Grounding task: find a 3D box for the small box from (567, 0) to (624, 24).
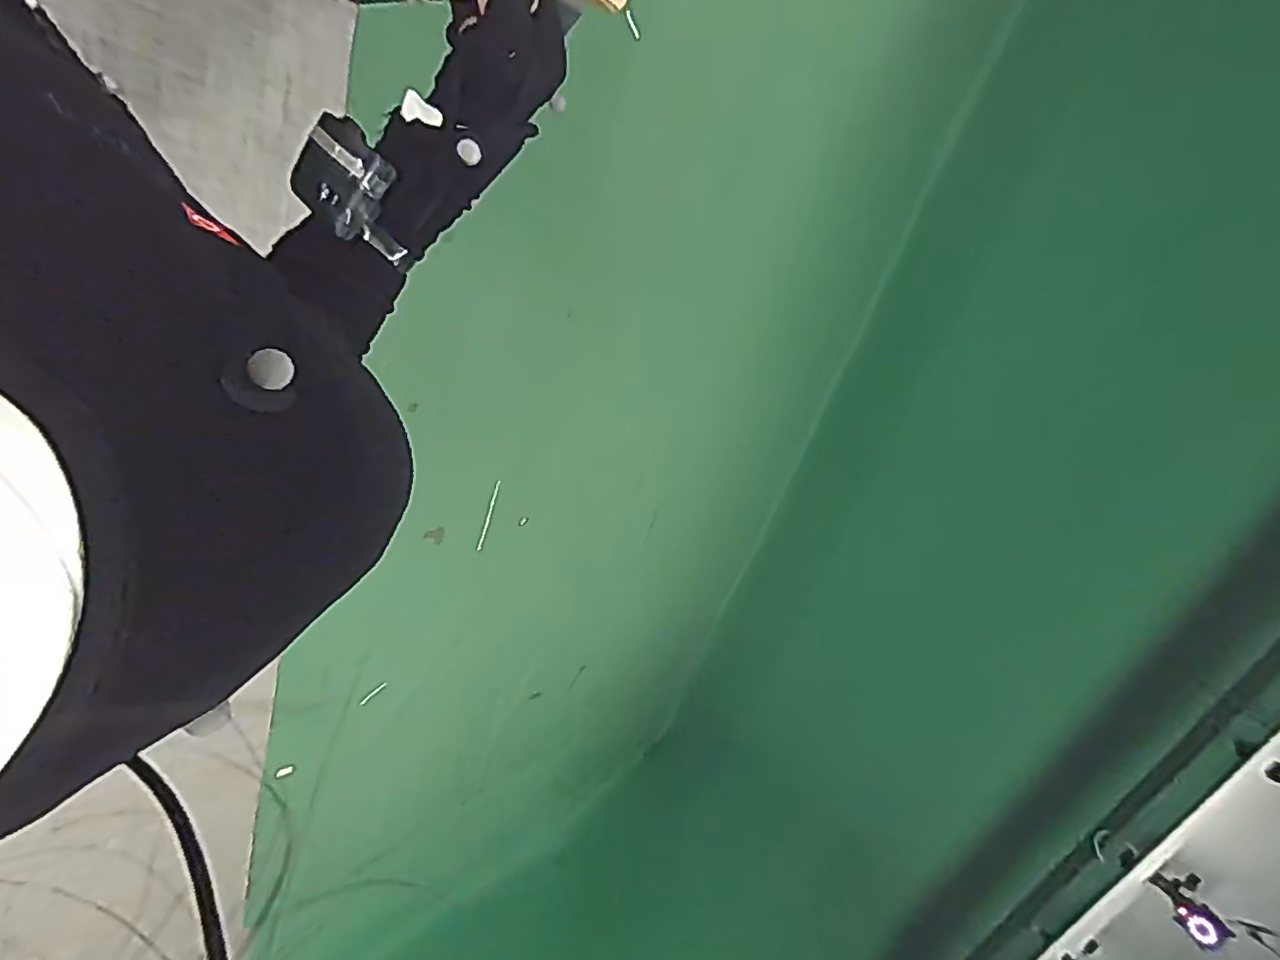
[{"bbox_3d":[-0.079,-0.453,0.343,0.168,0.176,0.179,-2,132,-49],"label":"small box"}]
